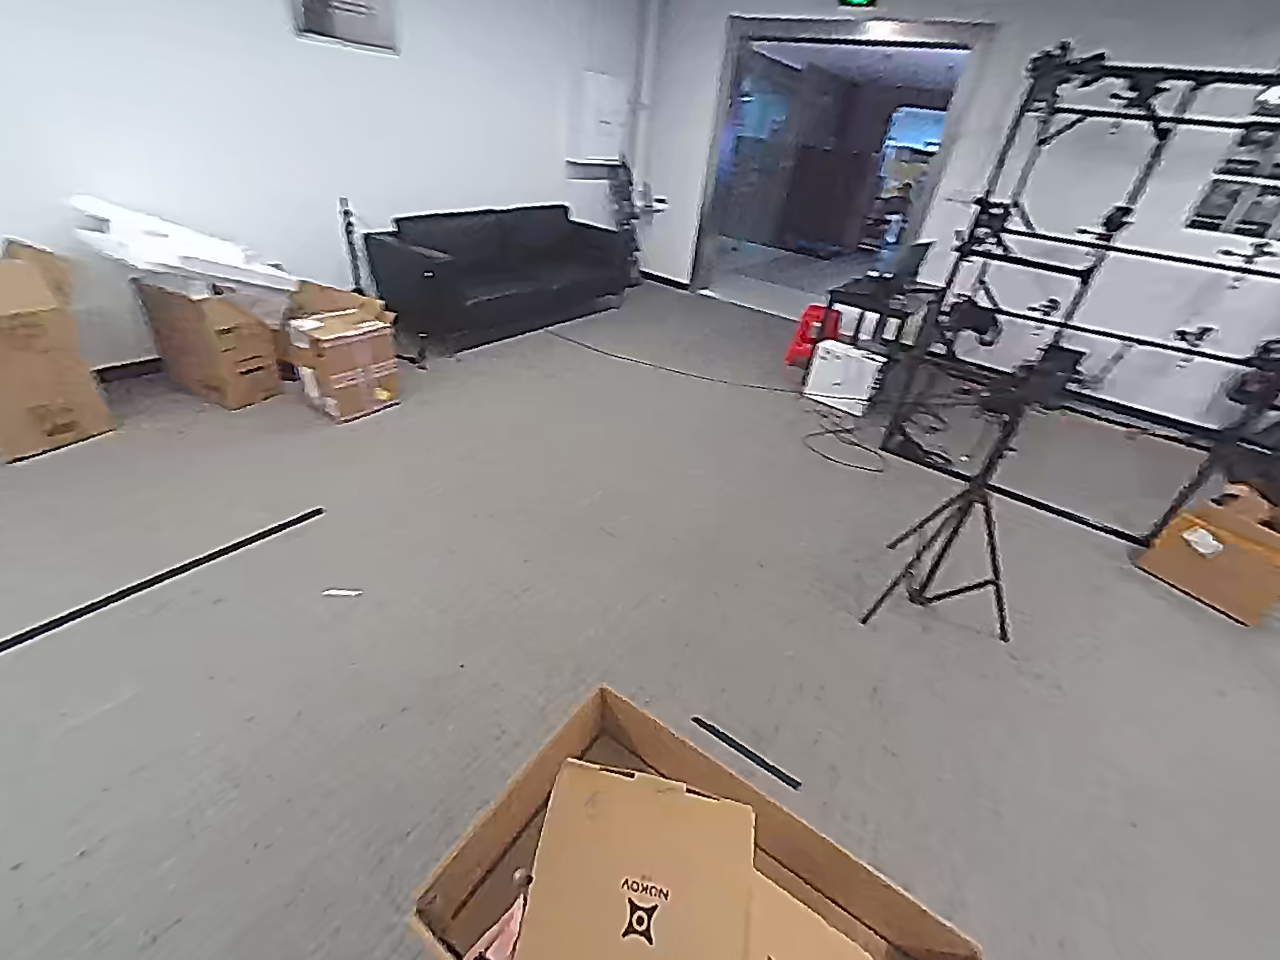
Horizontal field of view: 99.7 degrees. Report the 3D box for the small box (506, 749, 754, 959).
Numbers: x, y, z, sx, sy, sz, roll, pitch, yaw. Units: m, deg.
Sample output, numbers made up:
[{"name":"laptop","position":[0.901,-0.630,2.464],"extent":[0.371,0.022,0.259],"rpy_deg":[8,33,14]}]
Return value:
[{"name":"small box","position":[-0.014,0.356,0.452],"extent":[0.168,0.176,0.179],"rpy_deg":[15,50,-1]}]
